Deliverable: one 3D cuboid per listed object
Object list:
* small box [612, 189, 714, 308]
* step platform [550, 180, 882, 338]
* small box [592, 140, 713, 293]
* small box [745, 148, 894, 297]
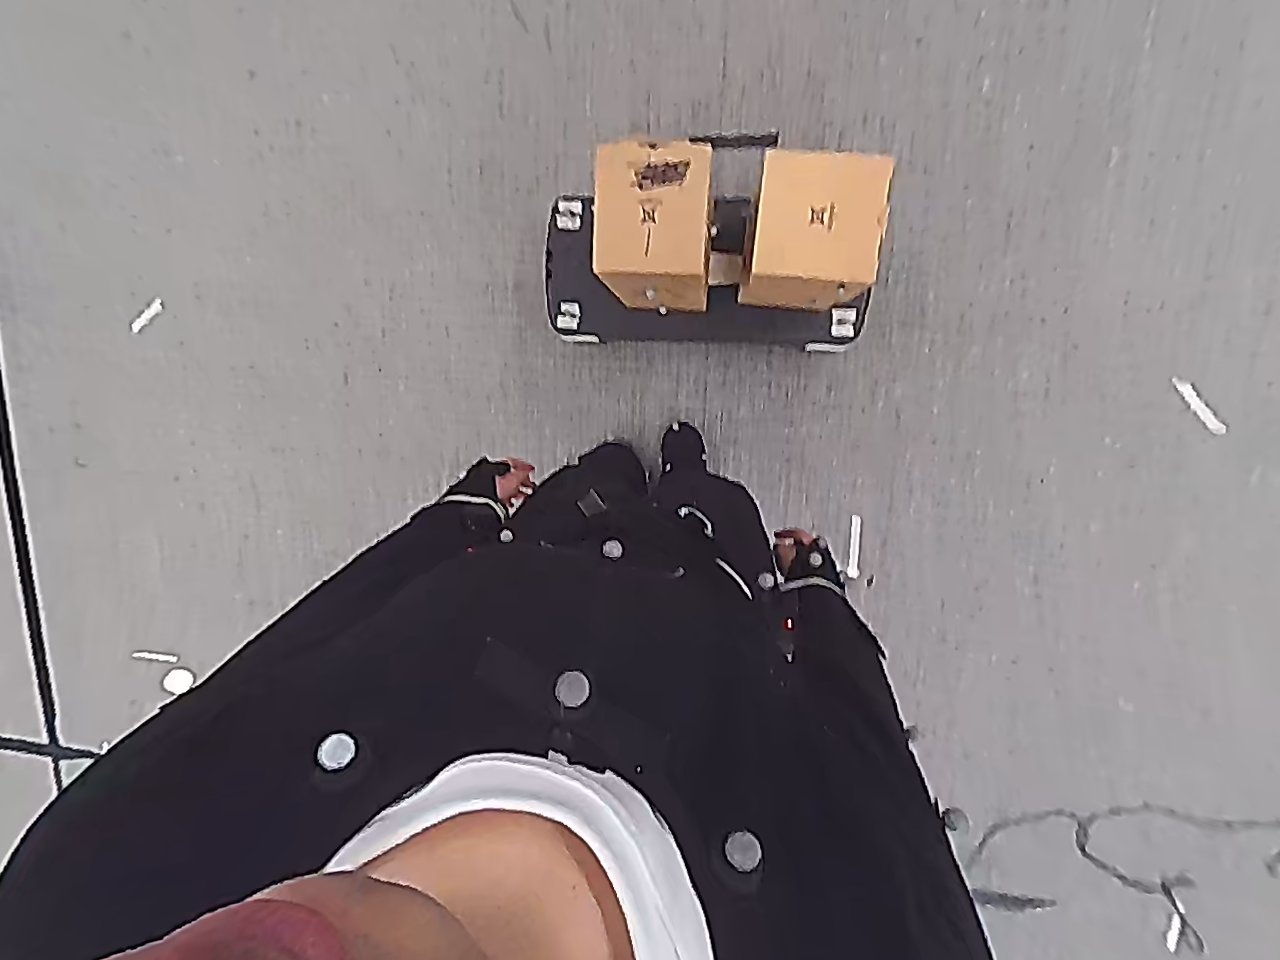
[{"bbox_3d":[0.046,-0.429,1.014,0.168,0.176,0.179,5,100,7],"label":"small box"},{"bbox_3d":[0.151,-0.470,1.171,0.684,0.204,0.286,3,100,7],"label":"step platform"},{"bbox_3d":[0.024,-0.405,0.853,0.168,0.176,0.179,5,100,6],"label":"small box"},{"bbox_3d":[0.260,-0.383,0.828,0.179,0.176,0.168,6,100,6],"label":"small box"}]
